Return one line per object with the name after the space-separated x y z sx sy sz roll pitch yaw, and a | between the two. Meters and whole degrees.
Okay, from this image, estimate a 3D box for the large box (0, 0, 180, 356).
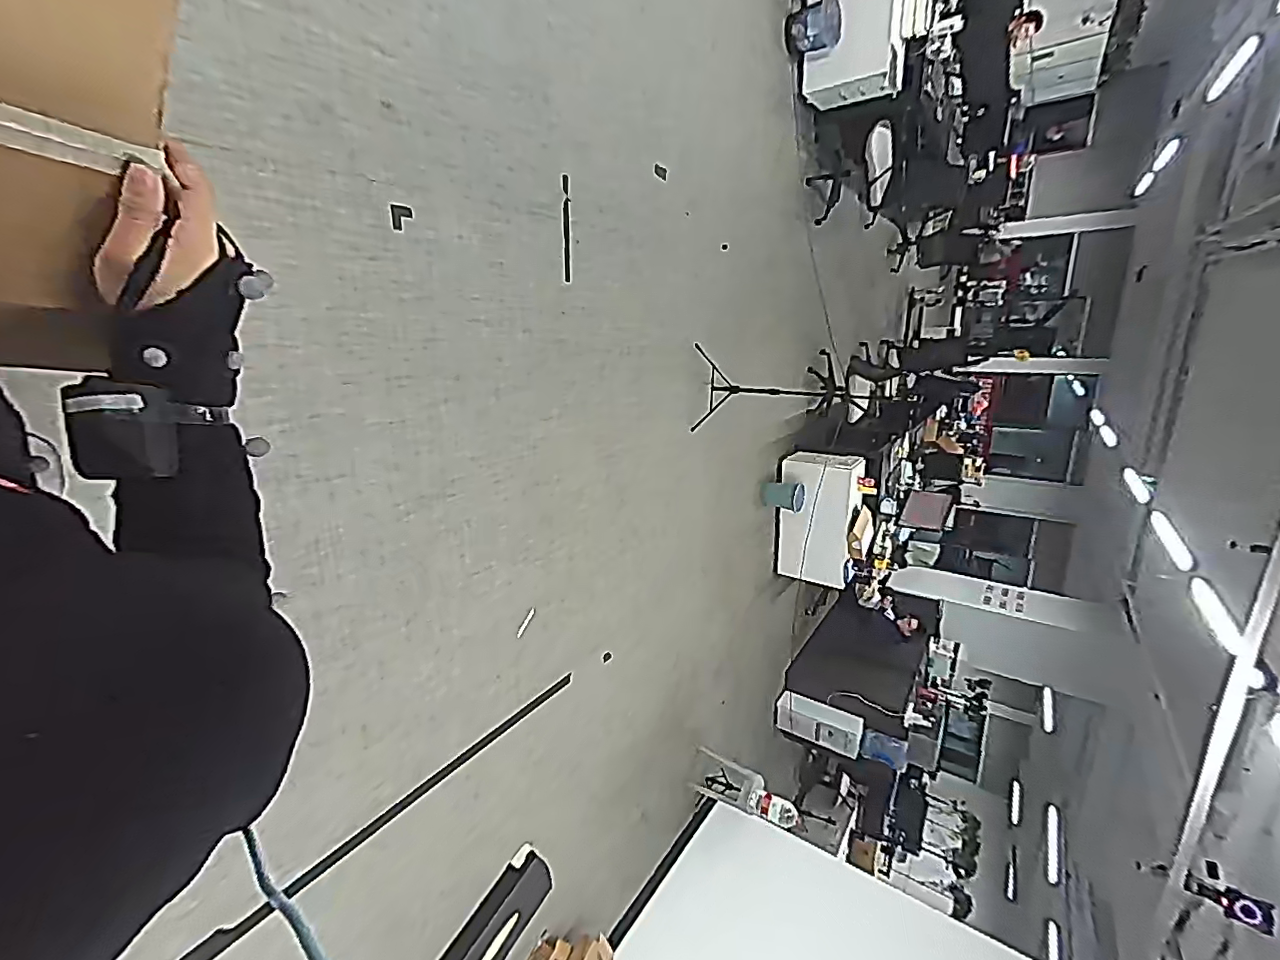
-0.506 -0.286 0.233 0.408 0.320 0.320 -8 143 -53 | large box
